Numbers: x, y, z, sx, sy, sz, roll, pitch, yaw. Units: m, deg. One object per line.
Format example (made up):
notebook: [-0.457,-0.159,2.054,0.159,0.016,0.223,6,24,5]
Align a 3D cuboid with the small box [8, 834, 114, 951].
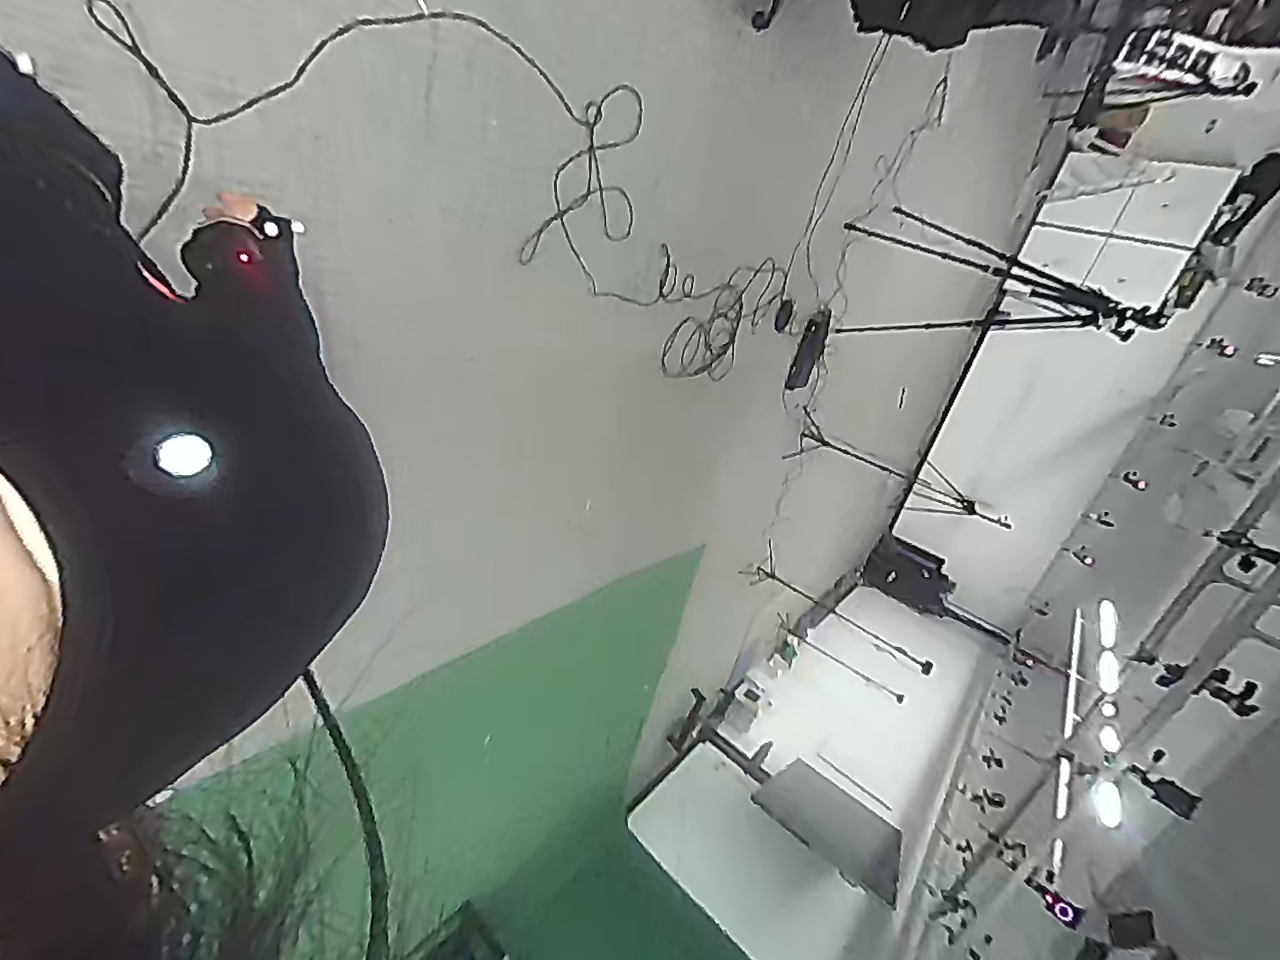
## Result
small box: [-1.453,1.054,1.369,0.168,0.176,0.179,-17,127,-49]
